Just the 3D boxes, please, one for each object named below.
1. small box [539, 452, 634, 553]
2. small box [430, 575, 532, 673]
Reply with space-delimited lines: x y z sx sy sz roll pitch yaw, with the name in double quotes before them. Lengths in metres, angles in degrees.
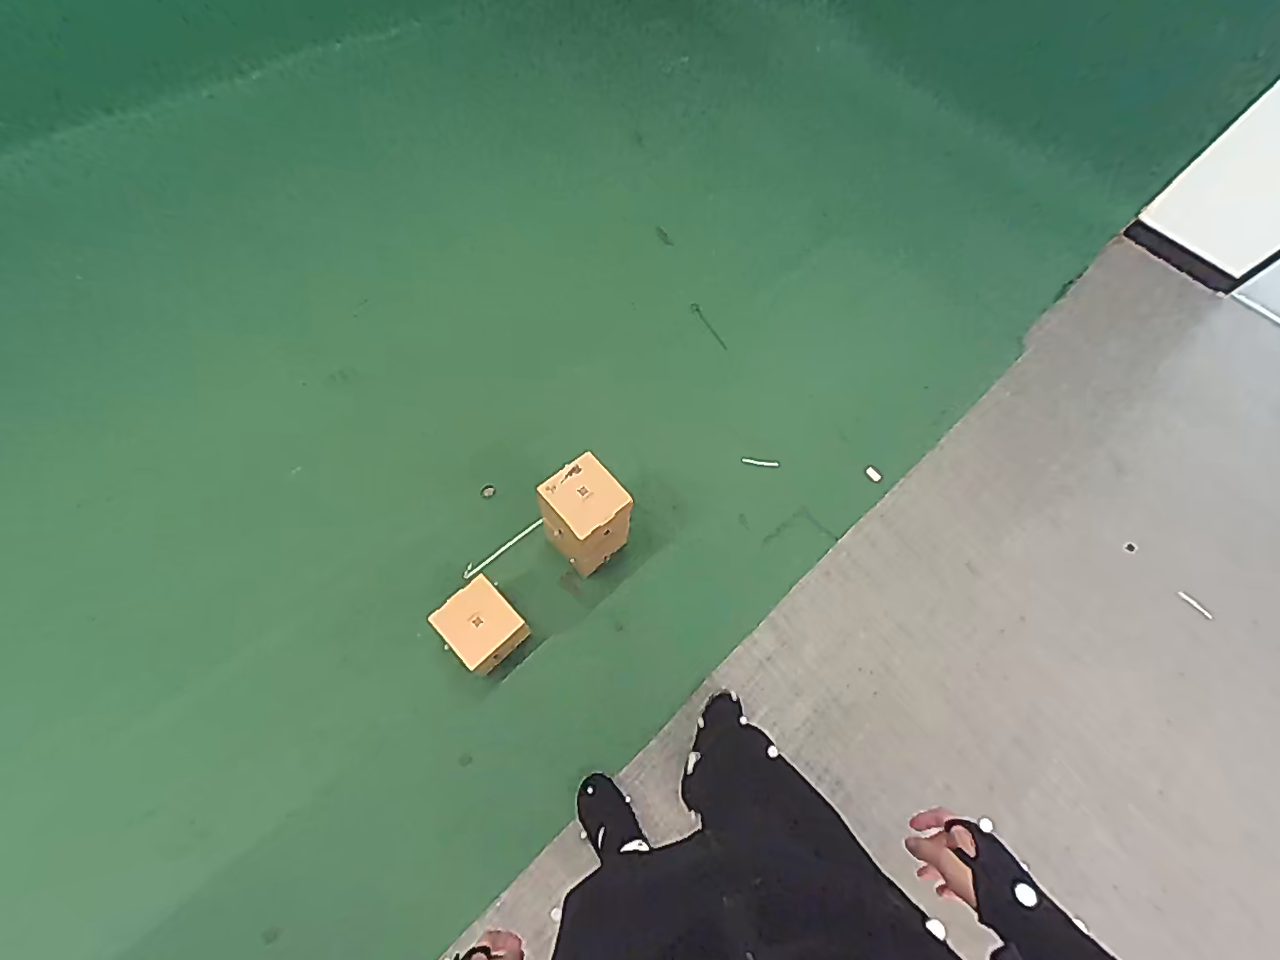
"small box" -0.135 0.067 1.371 0.168 0.176 0.179 -37 75 -20
"small box" -0.398 0.376 1.390 0.179 0.176 0.168 43 69 15
